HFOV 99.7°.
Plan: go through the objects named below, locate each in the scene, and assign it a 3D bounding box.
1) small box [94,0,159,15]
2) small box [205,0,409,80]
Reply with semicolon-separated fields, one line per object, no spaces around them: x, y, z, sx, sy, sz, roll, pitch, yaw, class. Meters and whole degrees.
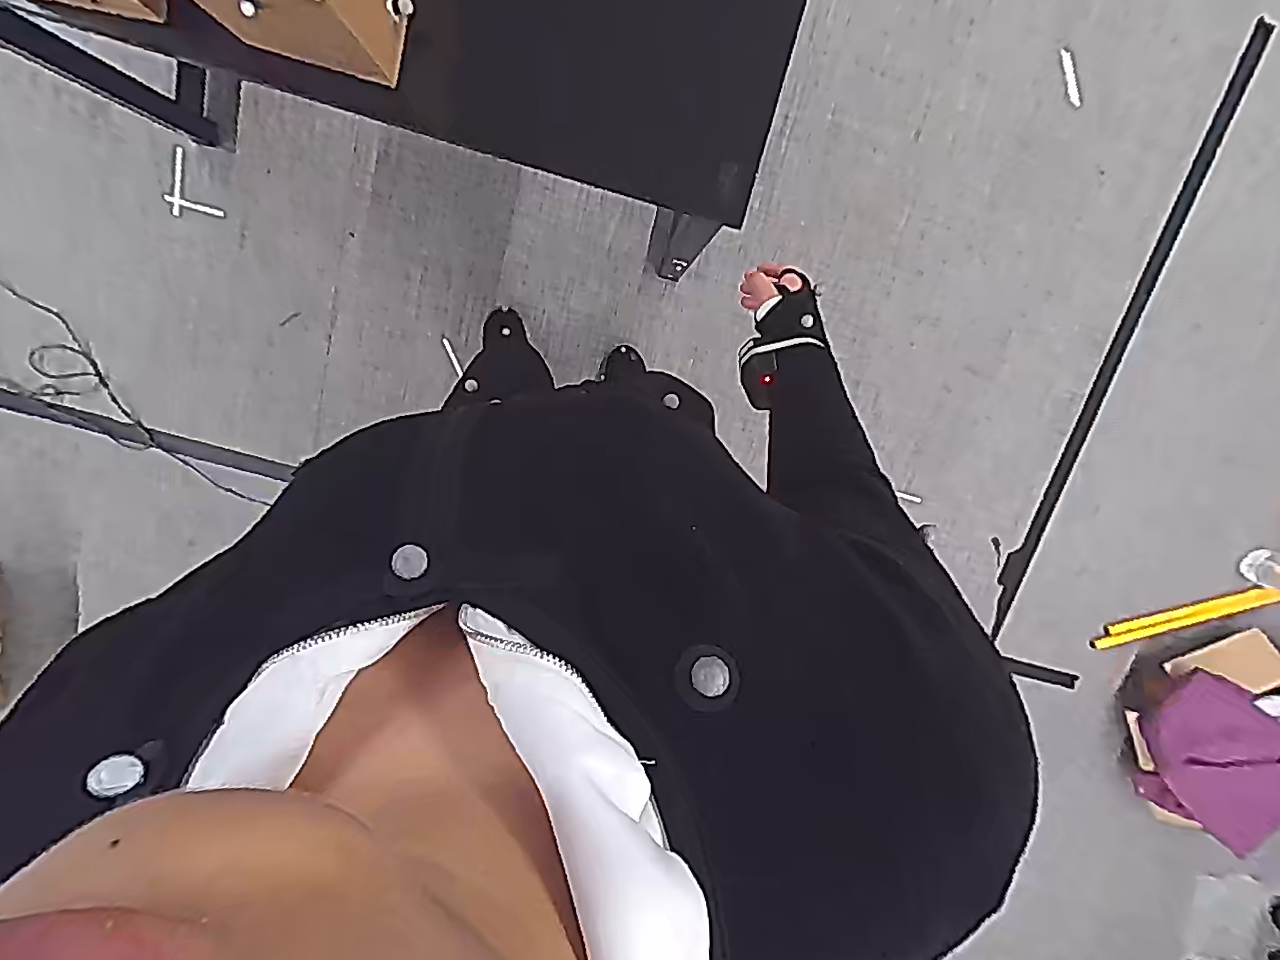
-0.595;-0.591;0.505;0.168;0.176;0.179;8;103;-4;small box
-0.345;-0.538;0.530;0.179;0.176;0.168;13;103;-6;small box
